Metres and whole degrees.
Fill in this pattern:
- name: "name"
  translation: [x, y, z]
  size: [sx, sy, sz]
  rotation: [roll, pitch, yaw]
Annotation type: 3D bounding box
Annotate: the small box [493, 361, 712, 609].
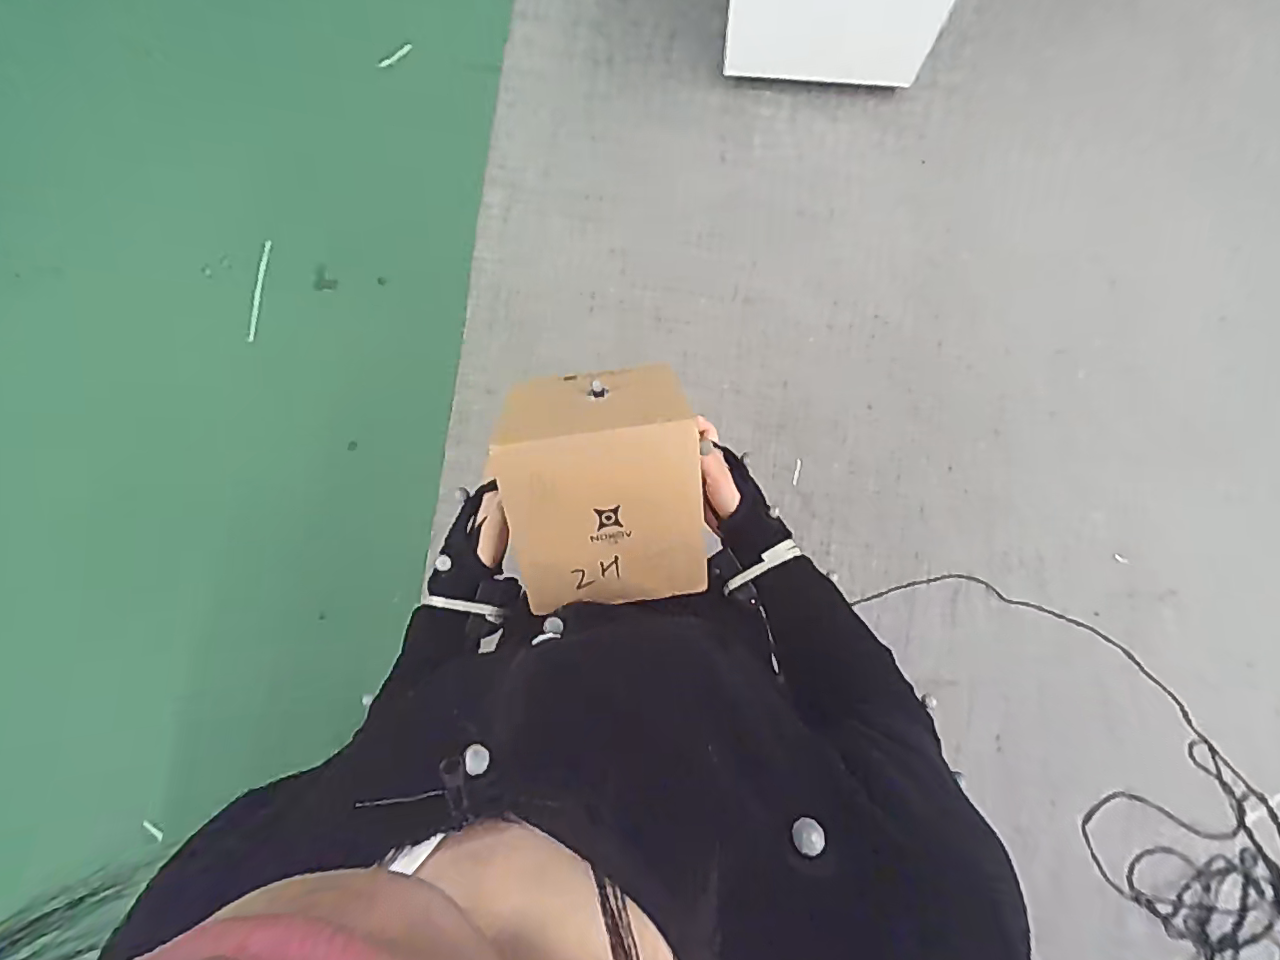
- name: "small box"
  translation: [-0.031, -0.008, 0.513]
  size: [0.168, 0.176, 0.179]
  rotation: [-7, 118, -1]
